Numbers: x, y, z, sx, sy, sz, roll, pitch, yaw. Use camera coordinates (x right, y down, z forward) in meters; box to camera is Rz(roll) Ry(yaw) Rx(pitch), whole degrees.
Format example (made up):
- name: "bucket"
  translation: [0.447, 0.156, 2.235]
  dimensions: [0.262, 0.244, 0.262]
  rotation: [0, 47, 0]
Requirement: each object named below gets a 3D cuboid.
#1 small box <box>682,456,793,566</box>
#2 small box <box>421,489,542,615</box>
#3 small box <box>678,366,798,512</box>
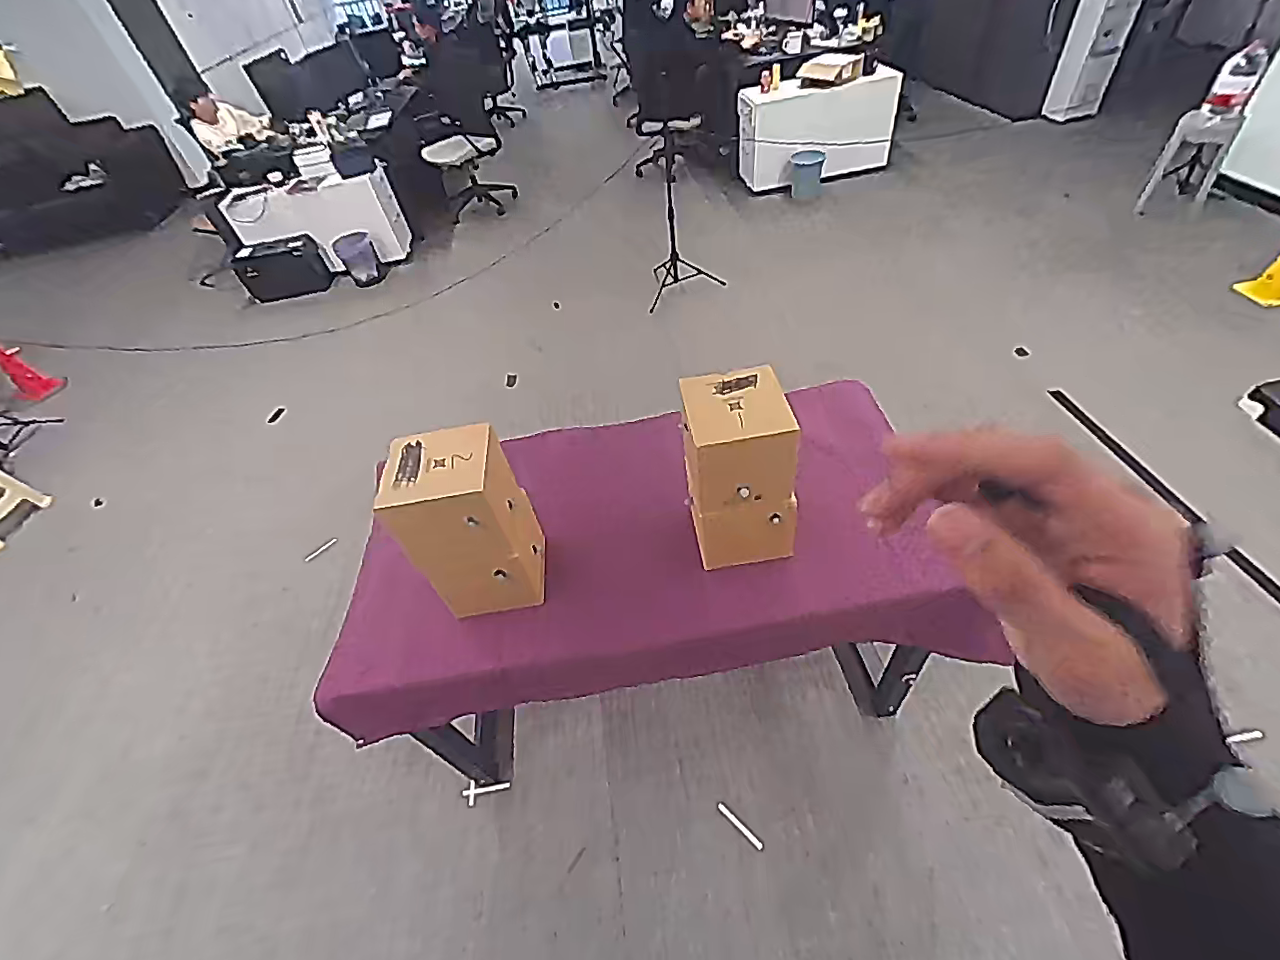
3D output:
- name: "small box"
  translation: [0.186, 0.050, 1.051]
  dimensions: [0.179, 0.176, 0.168]
  rotation: [-10, 46, 1]
- name: "small box"
  translation: [-0.294, 0.142, 1.047]
  dimensions: [0.179, 0.176, 0.168]
  rotation: [-9, 47, 1]
- name: "small box"
  translation: [0.162, -0.070, 0.940]
  dimensions: [0.168, 0.176, 0.179]
  rotation: [-10, 47, 1]
